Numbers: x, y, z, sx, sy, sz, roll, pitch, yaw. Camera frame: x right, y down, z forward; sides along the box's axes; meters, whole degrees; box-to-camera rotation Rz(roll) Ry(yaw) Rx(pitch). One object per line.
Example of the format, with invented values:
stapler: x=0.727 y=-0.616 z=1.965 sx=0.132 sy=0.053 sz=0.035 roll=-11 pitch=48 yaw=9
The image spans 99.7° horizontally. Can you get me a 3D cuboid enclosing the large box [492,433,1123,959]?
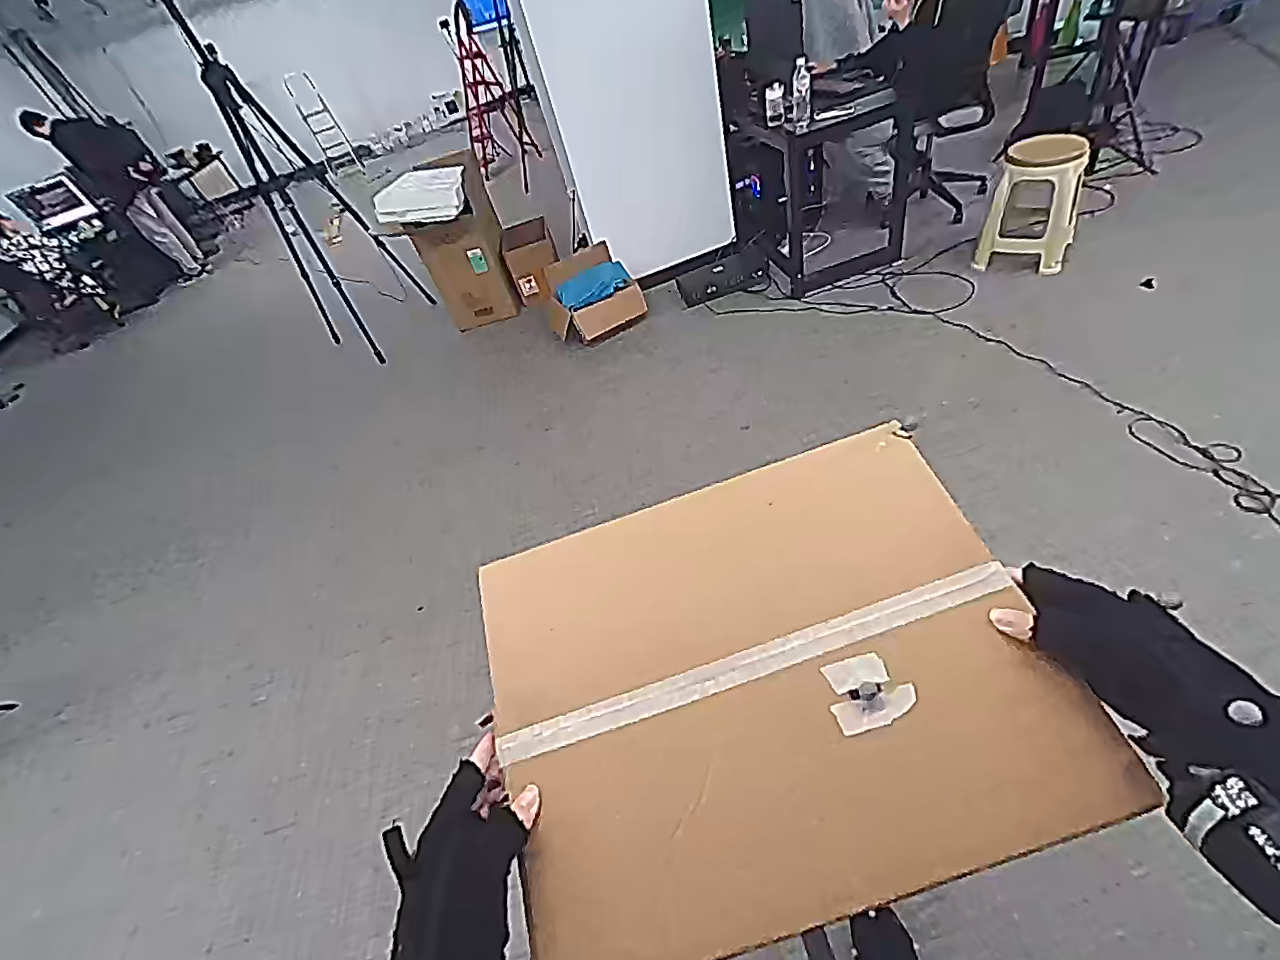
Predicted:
large box: x=0.114 y=0.219 z=0.555 sx=0.408 sy=0.320 sz=0.320 roll=-20 pitch=59 yaw=0
